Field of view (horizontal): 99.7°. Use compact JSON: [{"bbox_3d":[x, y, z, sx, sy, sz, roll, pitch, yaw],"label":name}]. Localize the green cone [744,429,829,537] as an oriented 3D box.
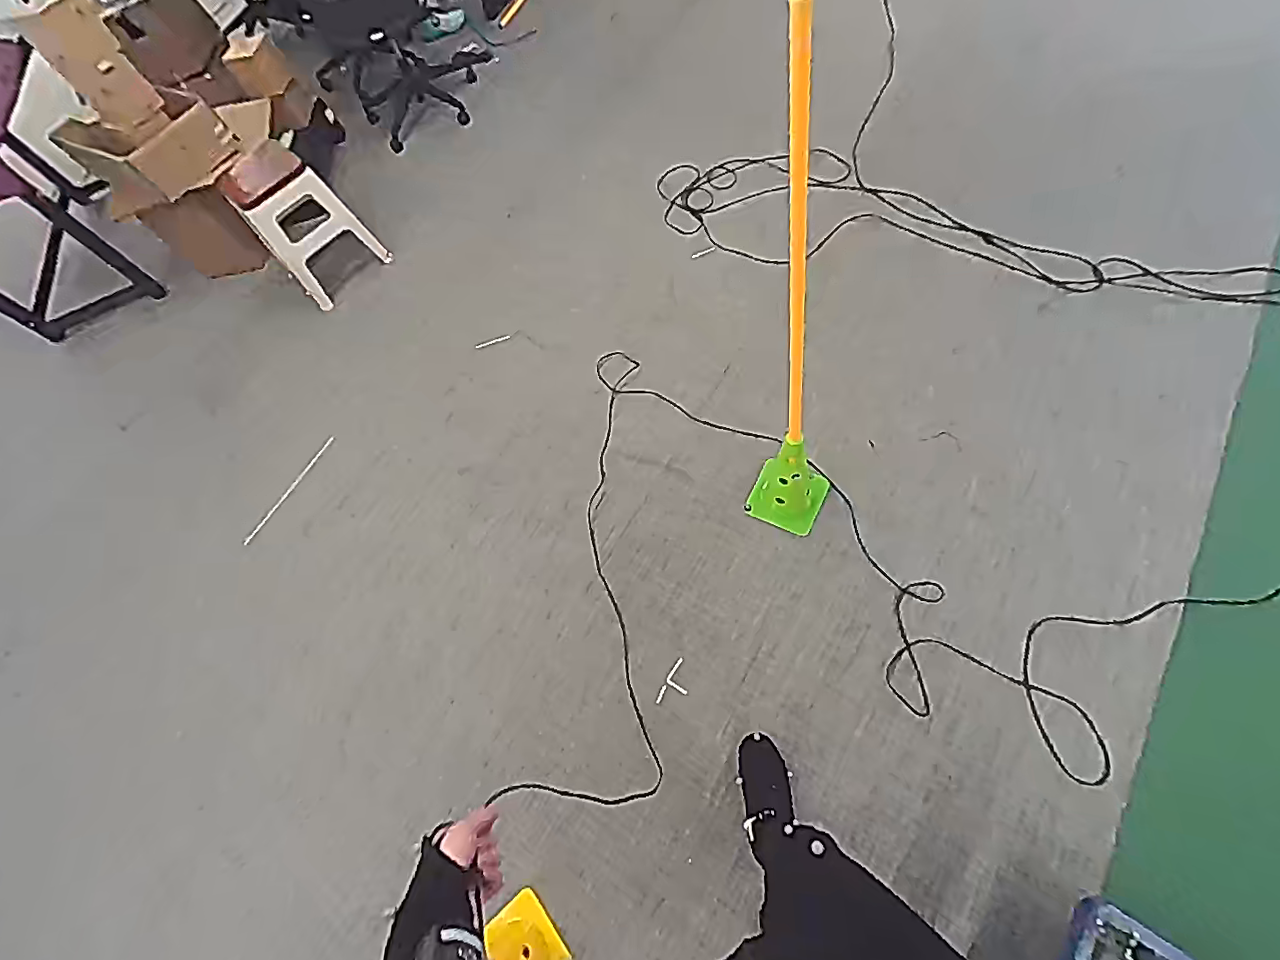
[{"bbox_3d":[0.402,-0.021,1.442,0.200,0.368,0.202,23,70,20],"label":"green cone"}]
